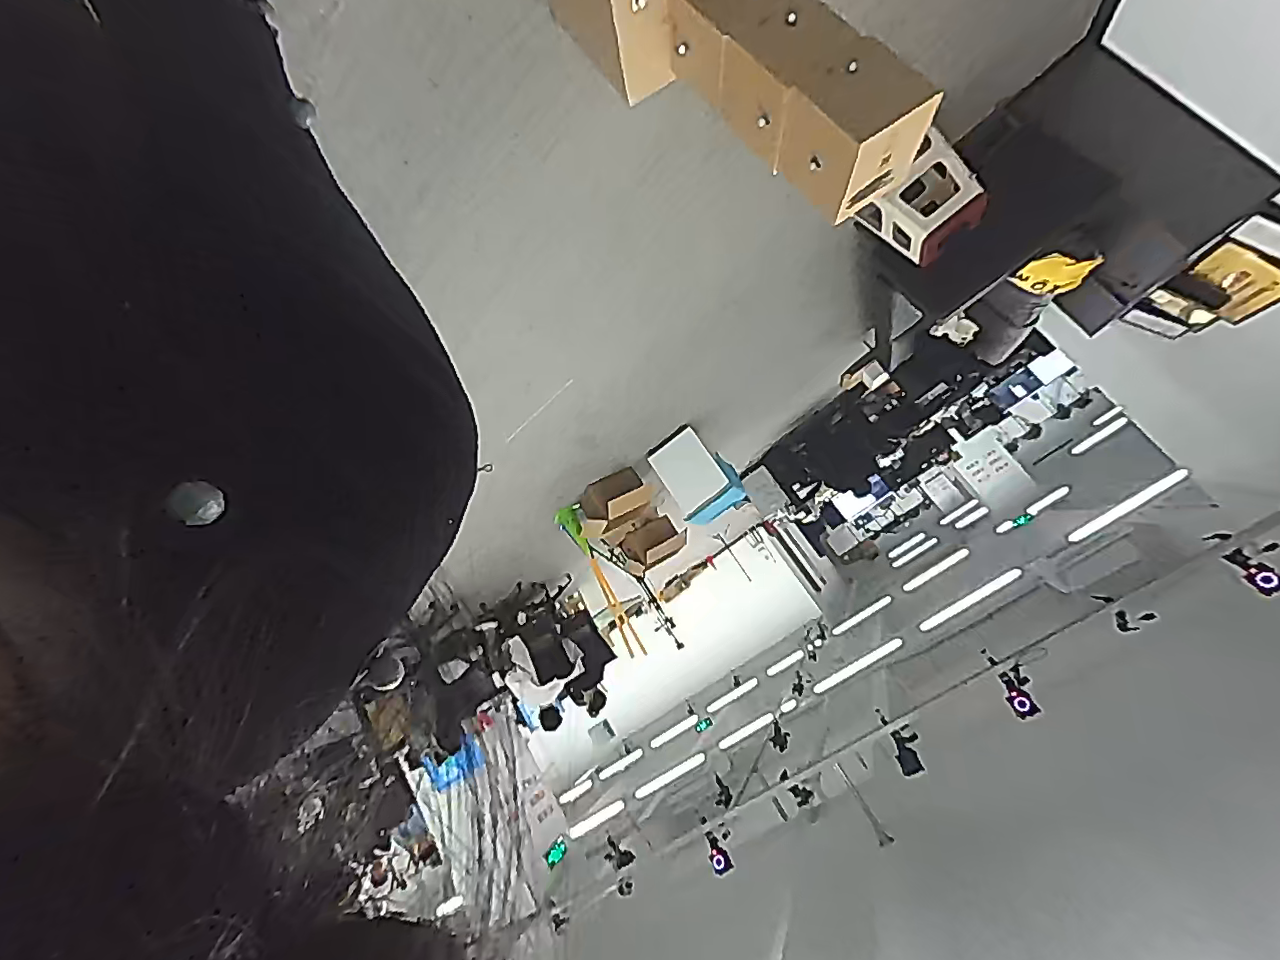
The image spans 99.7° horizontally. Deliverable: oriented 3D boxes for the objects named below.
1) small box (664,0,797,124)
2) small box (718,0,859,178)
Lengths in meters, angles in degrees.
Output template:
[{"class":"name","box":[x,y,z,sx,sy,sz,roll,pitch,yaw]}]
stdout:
[{"class":"small box","box":[0.165,-0.838,1.023,0.179,0.176,0.168,-35,163,-3]},{"class":"small box","box":[0.257,-0.710,0.986,0.168,0.176,0.179,-35,163,-5]}]
